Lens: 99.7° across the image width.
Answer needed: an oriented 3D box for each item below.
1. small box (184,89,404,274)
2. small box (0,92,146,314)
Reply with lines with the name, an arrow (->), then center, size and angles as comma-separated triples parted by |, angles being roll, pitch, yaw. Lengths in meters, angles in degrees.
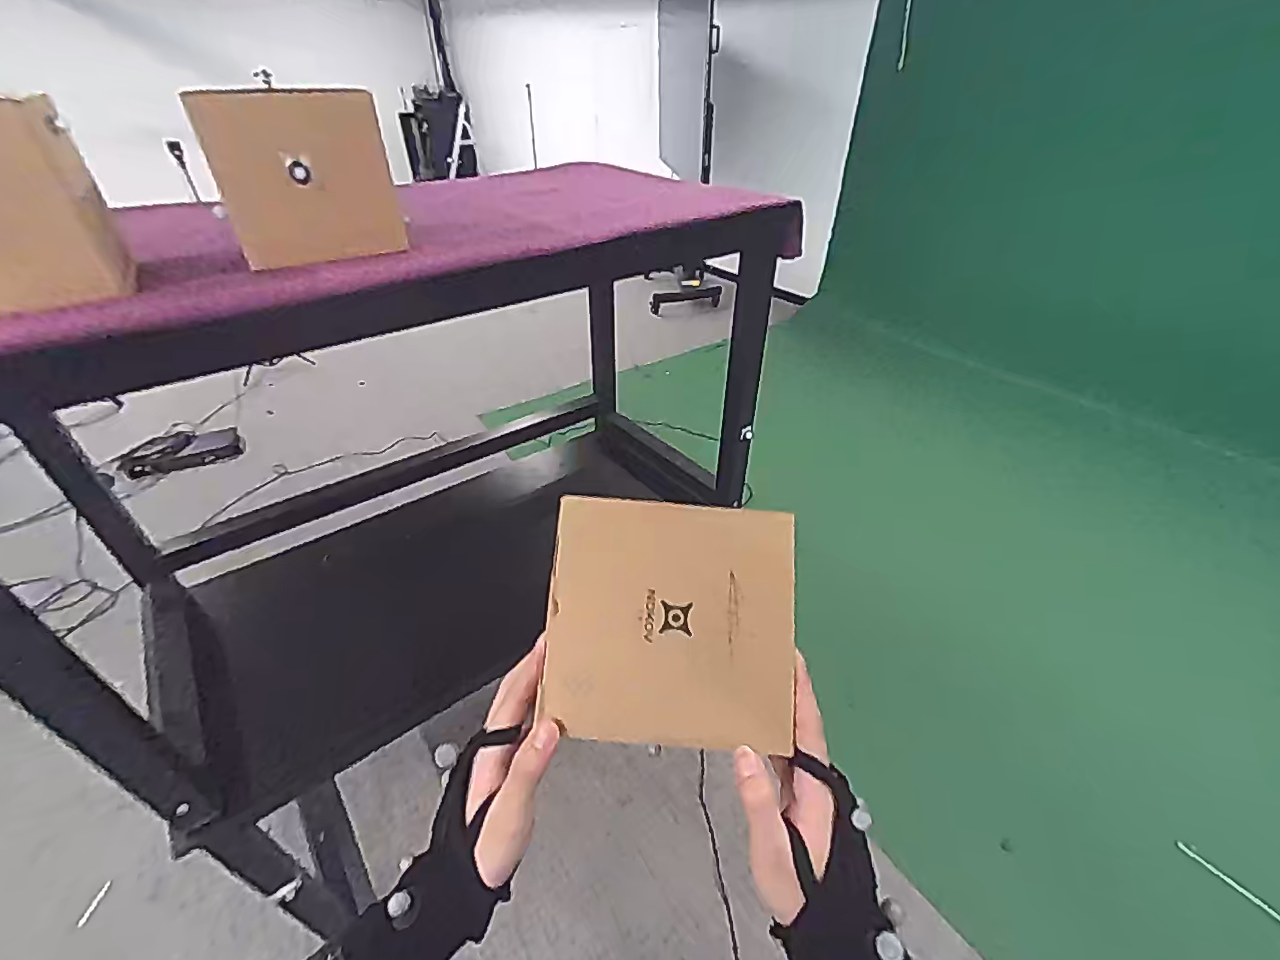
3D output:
small box -> -0.402, -0.363, 0.650 | 0.179, 0.176, 0.168 | -22, 41, -26
small box -> -0.623, -0.259, 0.509 | 0.179, 0.176, 0.168 | -23, 43, -27
